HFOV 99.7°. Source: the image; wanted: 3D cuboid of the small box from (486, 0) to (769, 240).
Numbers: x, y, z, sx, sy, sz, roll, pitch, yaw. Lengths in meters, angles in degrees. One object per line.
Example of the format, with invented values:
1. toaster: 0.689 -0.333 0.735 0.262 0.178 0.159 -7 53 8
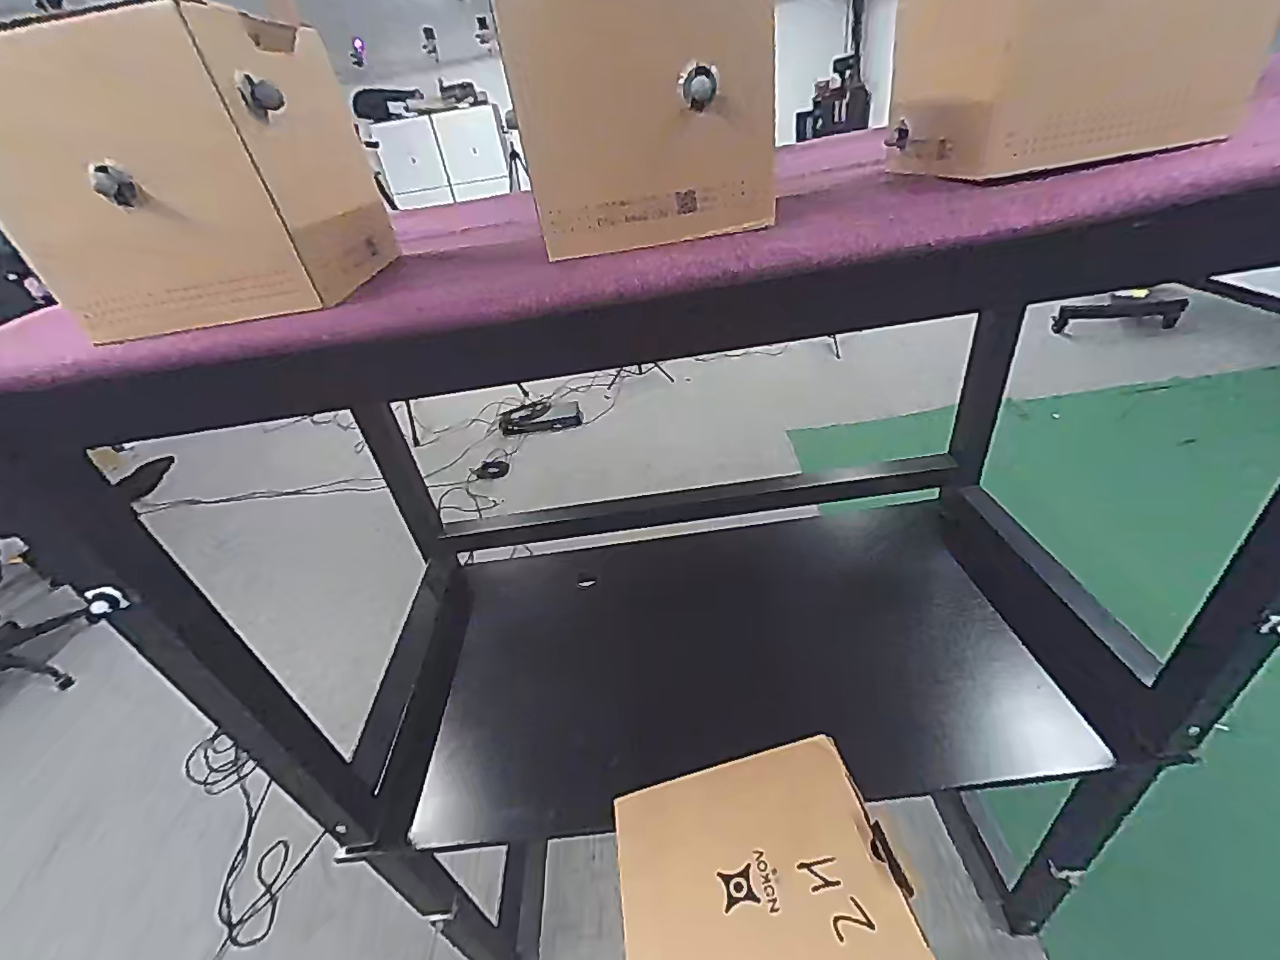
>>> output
1. small box: 0.000 -0.287 0.404 0.168 0.176 0.179 -7 34 3

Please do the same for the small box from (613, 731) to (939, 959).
1. small box: 0.093 0.317 0.374 0.179 0.176 0.168 -18 29 3

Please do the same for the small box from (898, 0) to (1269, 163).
1. small box: 0.308 -0.341 0.396 0.179 0.176 0.168 -9 32 2
